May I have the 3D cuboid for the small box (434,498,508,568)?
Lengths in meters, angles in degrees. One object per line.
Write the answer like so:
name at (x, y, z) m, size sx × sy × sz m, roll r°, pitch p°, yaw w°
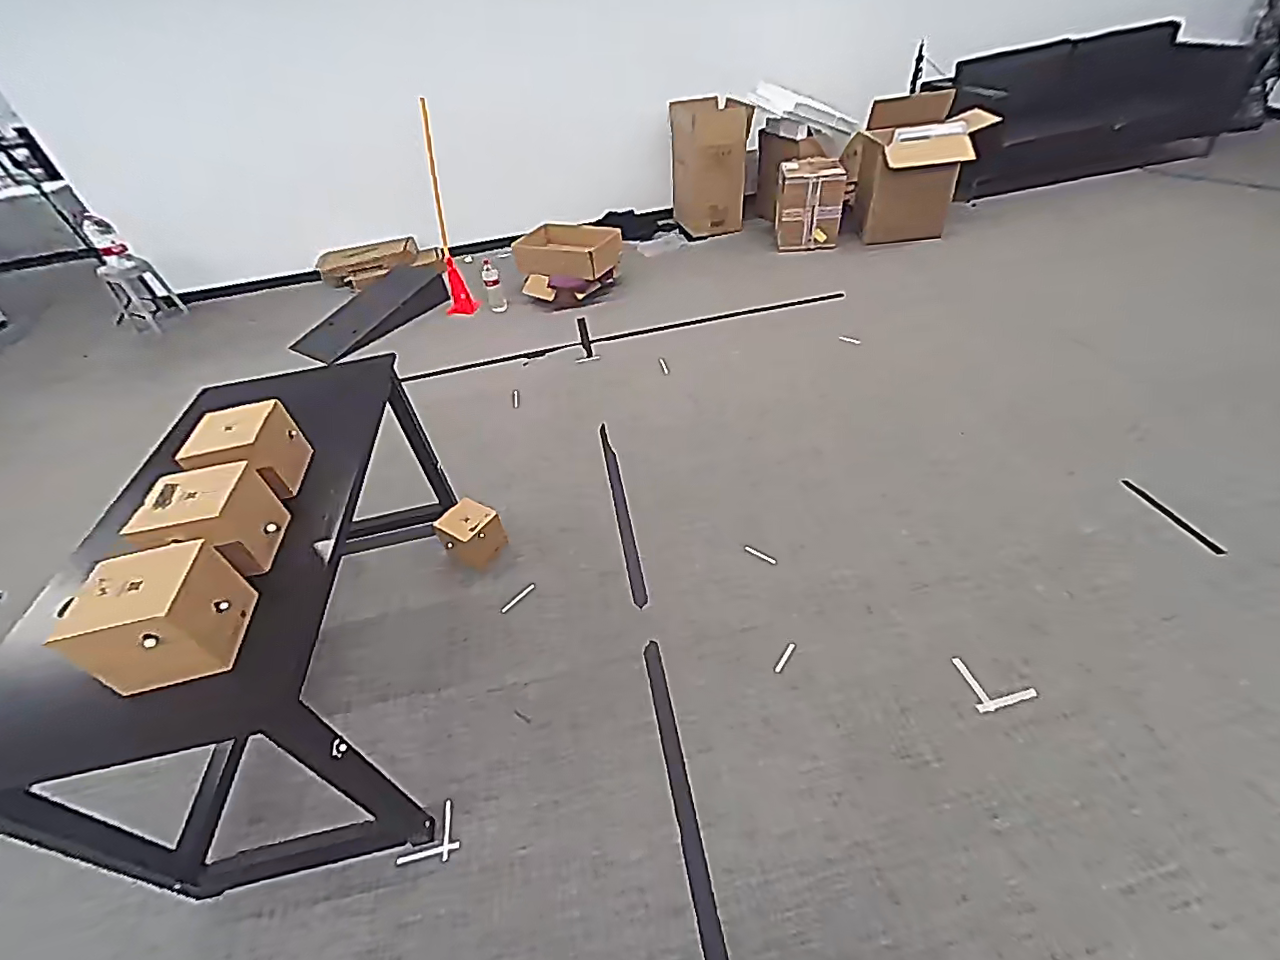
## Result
small box at (-0.626, 0.202, 2.018) m, size 0.179 × 0.176 × 0.168 m, roll 20°, pitch 50°, yaw 27°

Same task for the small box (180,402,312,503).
small box at (-0.903, -0.053, 1.262) m, size 0.168 × 0.176 × 0.179 m, roll -14°, pitch 44°, yaw -4°

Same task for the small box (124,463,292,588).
small box at (-0.854, 0.095, 1.091) m, size 0.179 × 0.176 × 0.168 m, roll -12°, pitch 43°, yaw -4°
